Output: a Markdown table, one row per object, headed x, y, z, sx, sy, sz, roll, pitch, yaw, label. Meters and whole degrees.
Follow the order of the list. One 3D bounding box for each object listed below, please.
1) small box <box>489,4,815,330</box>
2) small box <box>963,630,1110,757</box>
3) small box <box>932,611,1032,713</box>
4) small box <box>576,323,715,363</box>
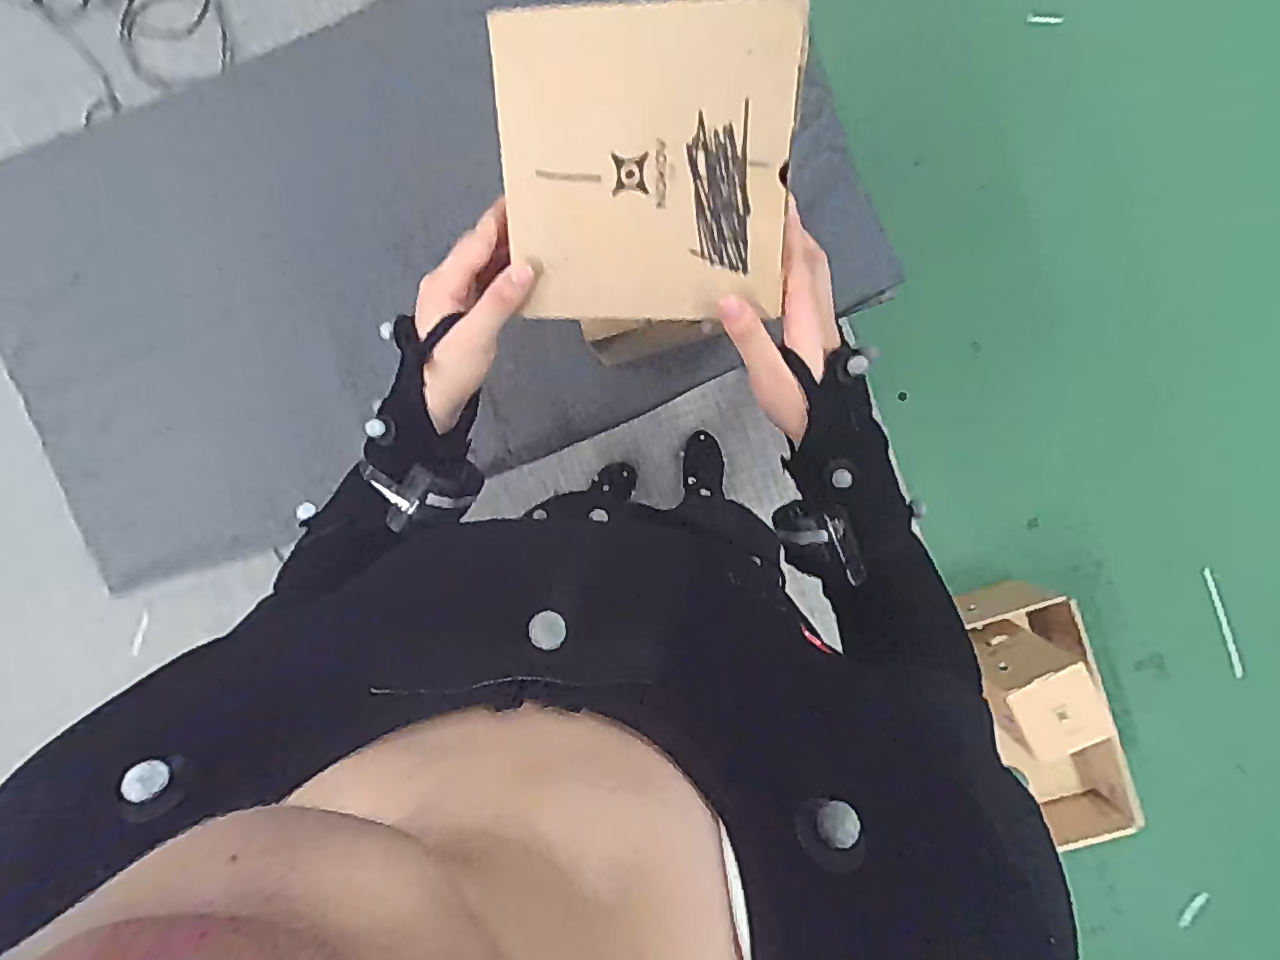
| x | y | z | sx | sy | sz | roll | pitch | yaw | label |
| --- | --- | --- | --- | --- | --- | --- | --- | --- | --- |
| 0.011 | -0.206 | 0.388 | 0.179 | 0.176 | 0.168 | 3 | 114 | 6 | small box |
| 0.853 | 0.452 | 1.183 | 0.168 | 0.176 | 0.179 | -28 | 95 | 6 | small box |
| 0.862 | 0.441 | 1.346 | 0.168 | 0.176 | 0.179 | -18 | 94 | 5 | small box |
| 0.005 | -0.249 | 0.634 | 0.179 | 0.176 | 0.168 | -16 | 92 | 5 | small box |
